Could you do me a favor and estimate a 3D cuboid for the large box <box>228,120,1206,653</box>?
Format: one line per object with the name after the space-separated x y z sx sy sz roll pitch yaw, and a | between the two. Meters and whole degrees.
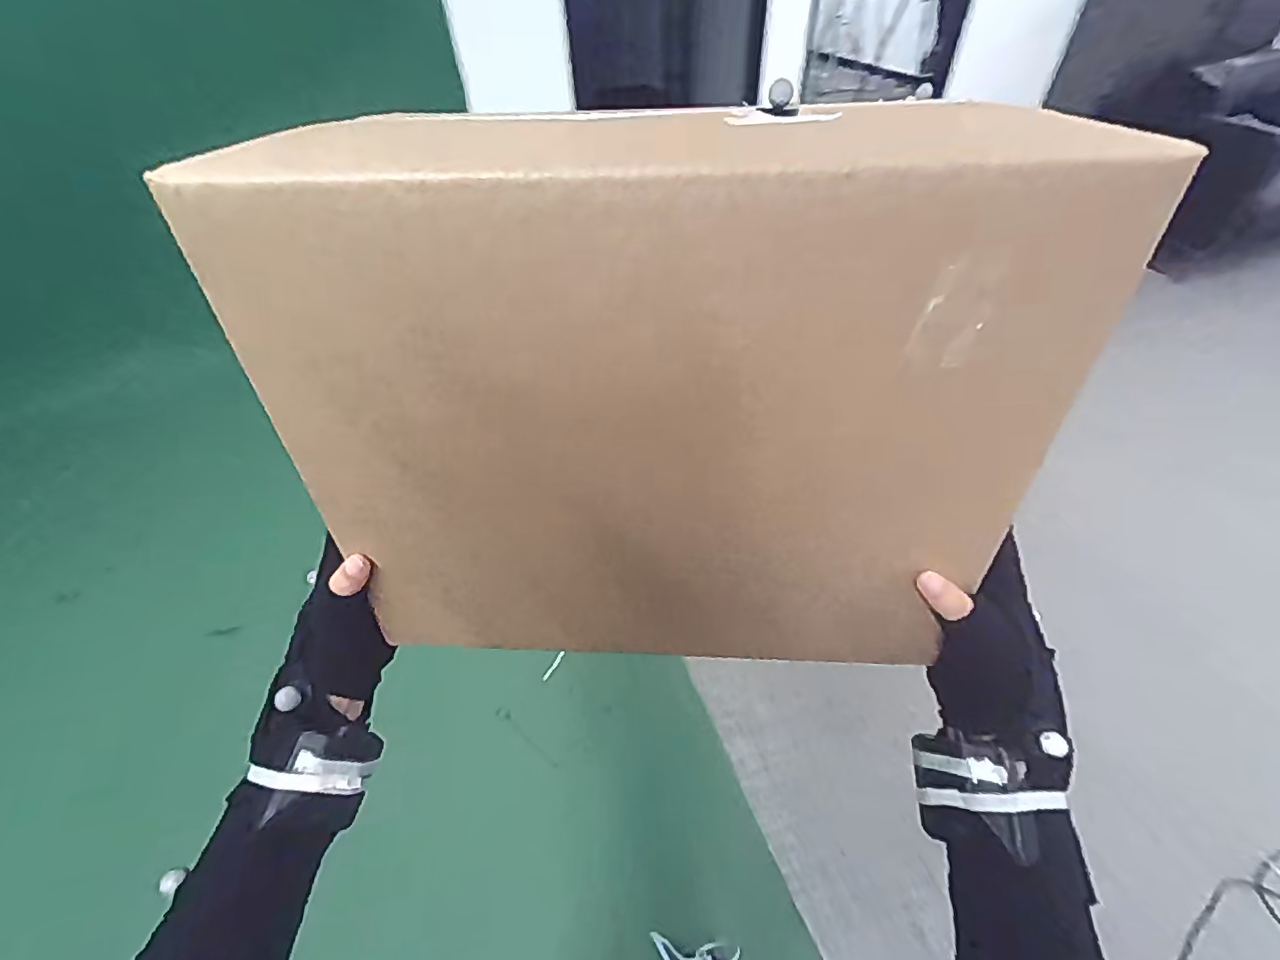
0.031 -0.087 0.423 0.408 0.320 0.320 2 38 3 | large box
